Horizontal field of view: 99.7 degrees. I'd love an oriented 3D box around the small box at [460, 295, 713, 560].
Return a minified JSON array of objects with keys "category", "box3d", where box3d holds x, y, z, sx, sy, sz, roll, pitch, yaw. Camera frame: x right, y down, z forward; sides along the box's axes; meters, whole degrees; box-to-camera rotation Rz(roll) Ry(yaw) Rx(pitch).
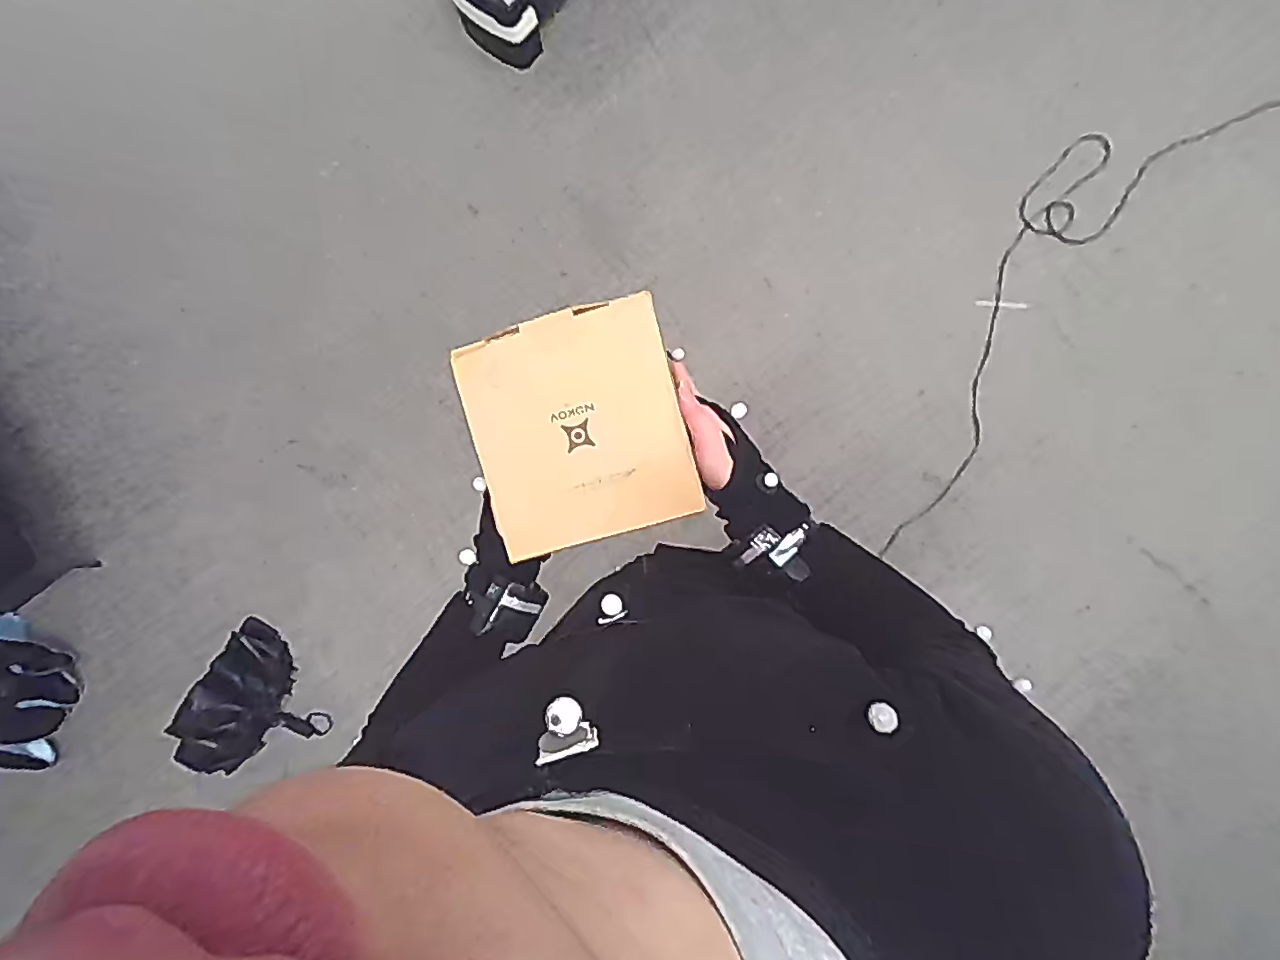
[{"category":"small box","box3d":[-0.037,-0.045,0.499,0.168,0.176,0.179,-15,95,7]}]
